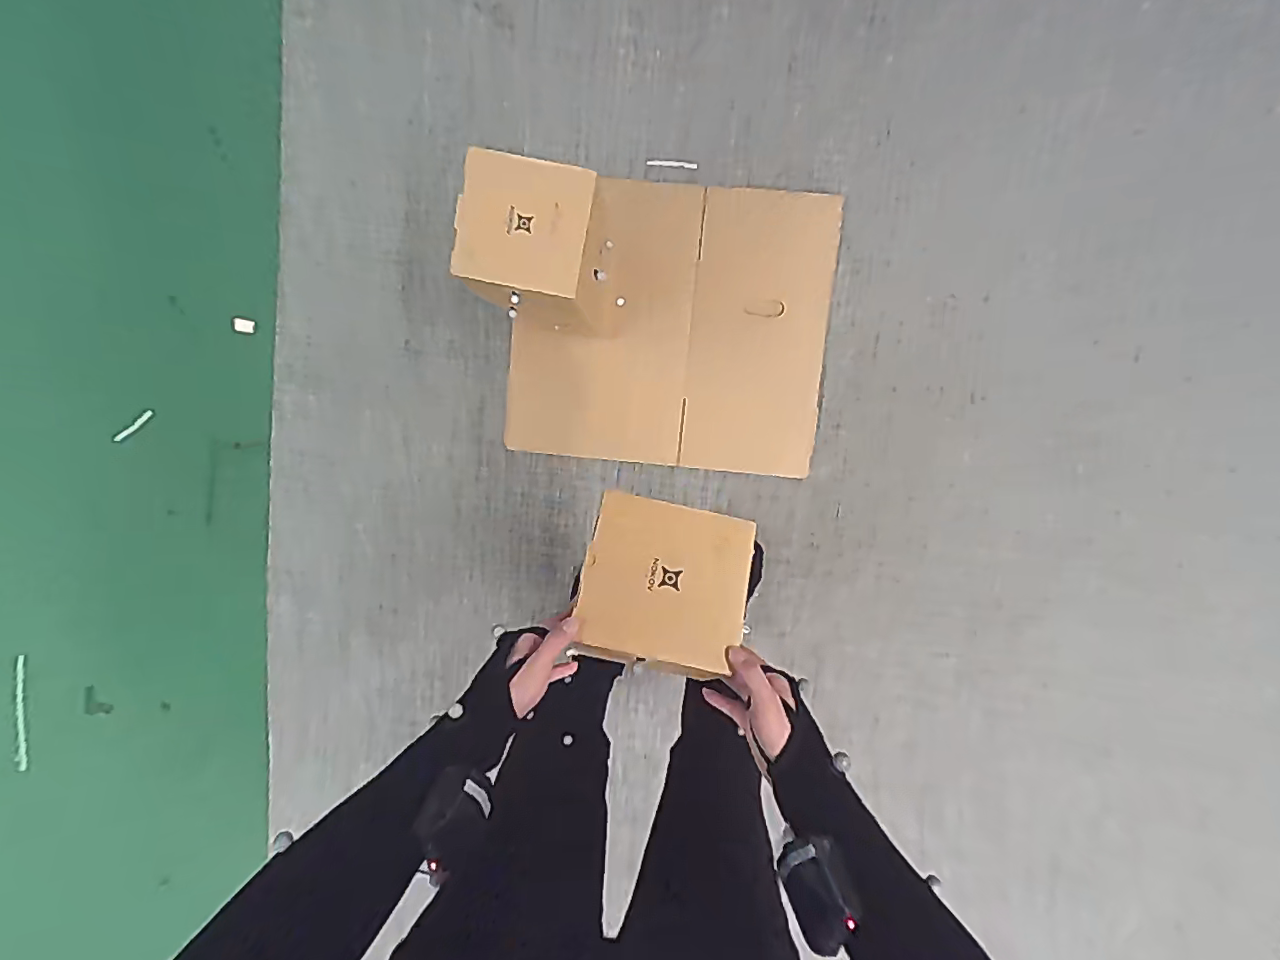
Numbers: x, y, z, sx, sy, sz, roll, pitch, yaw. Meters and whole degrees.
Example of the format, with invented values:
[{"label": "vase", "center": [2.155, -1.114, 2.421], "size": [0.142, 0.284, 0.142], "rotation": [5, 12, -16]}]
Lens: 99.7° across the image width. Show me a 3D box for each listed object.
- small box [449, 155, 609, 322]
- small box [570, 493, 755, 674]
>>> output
[{"label": "small box", "center": [-0.152, -0.340, 0.794], "size": [0.179, 0.176, 0.168], "rotation": [12, 98, 2]}, {"label": "small box", "center": [0.026, 0.133, 0.655], "size": [0.179, 0.176, 0.168], "rotation": [11, 69, 3]}]
